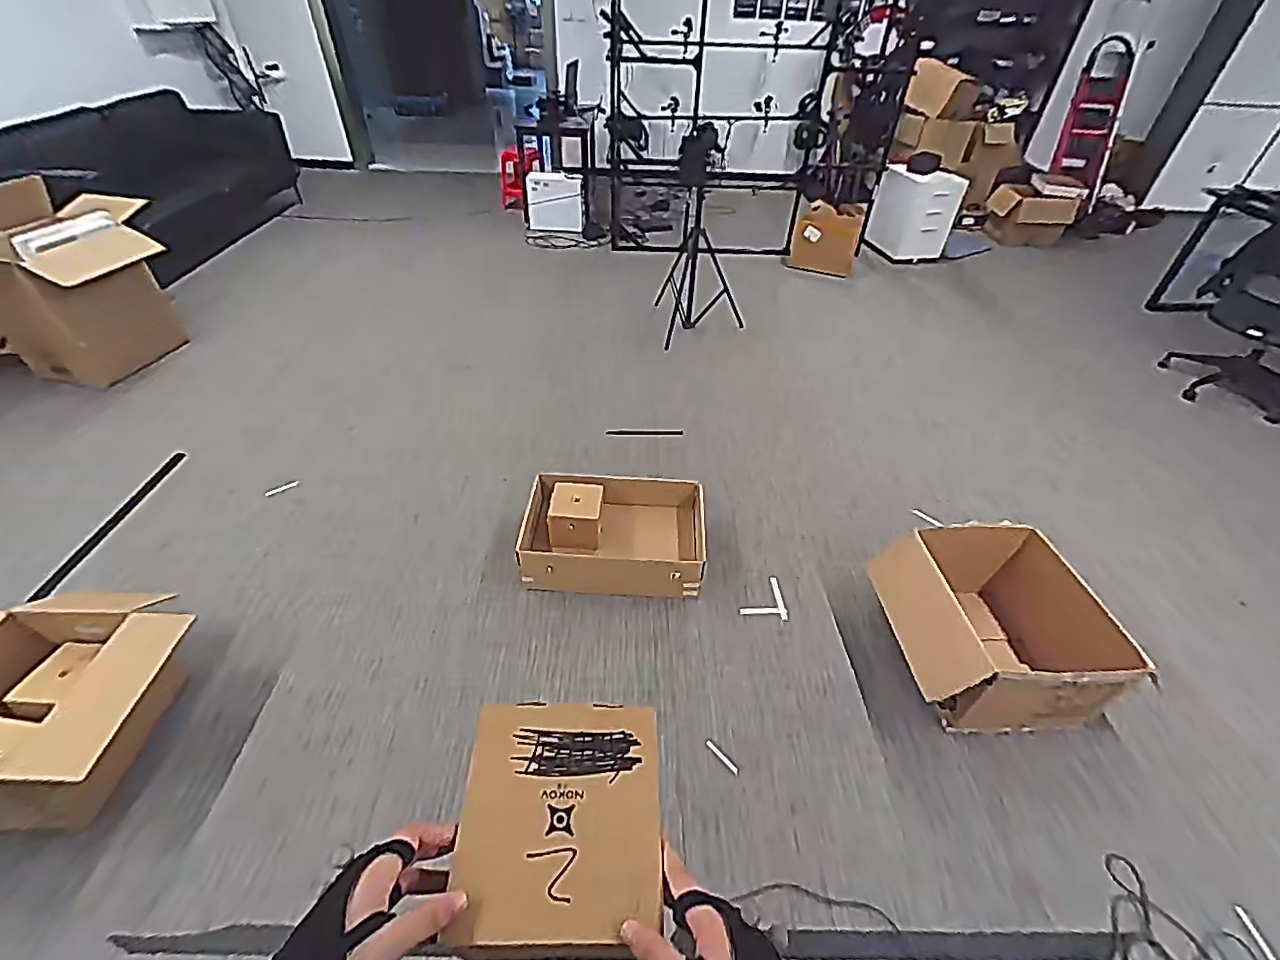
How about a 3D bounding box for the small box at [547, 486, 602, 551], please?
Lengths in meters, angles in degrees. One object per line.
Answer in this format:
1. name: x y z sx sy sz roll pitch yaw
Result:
1. small box: -0.231 0.141 1.945 0.179 0.176 0.168 4 44 0
